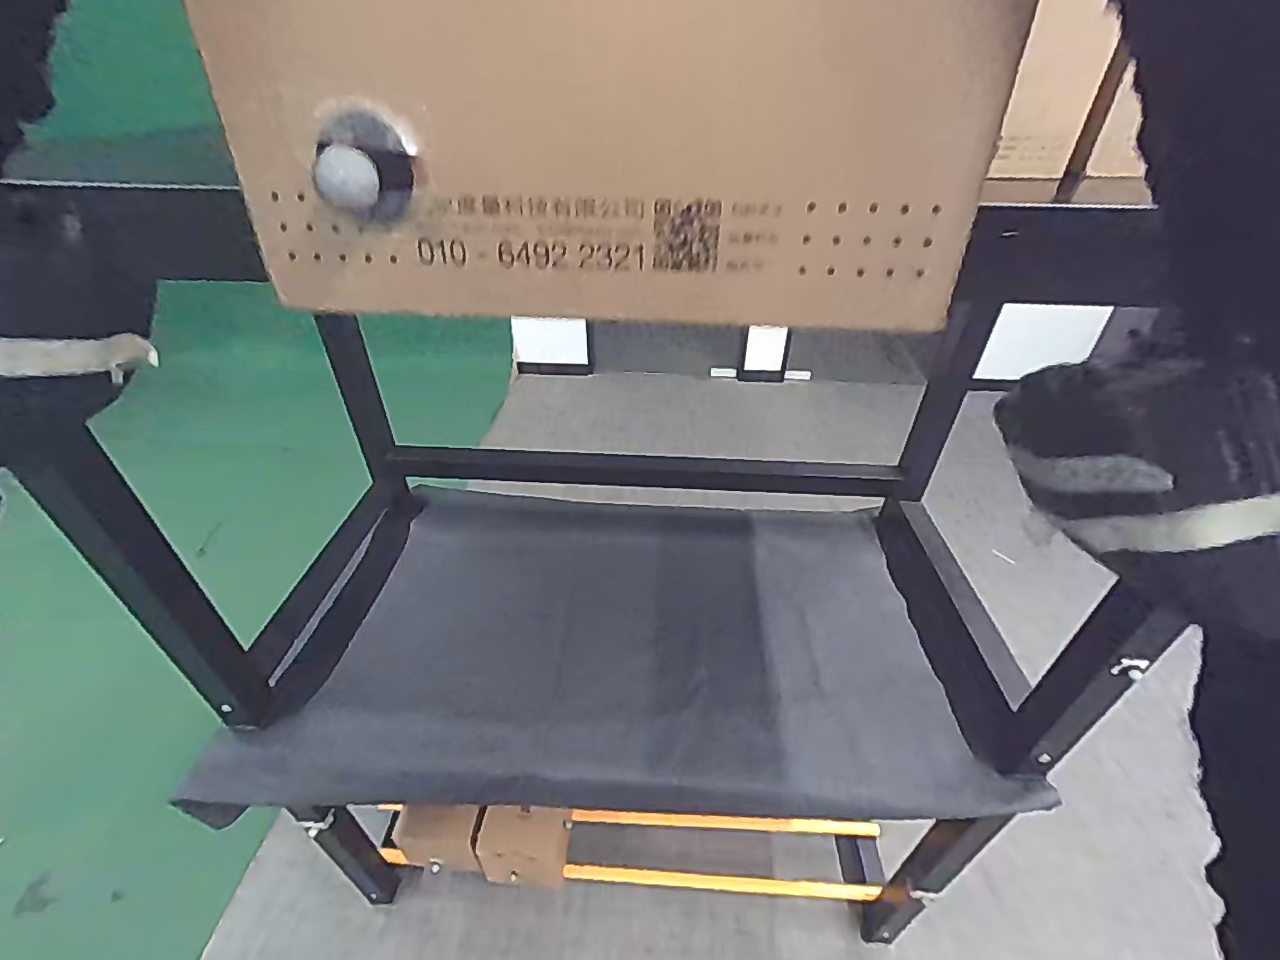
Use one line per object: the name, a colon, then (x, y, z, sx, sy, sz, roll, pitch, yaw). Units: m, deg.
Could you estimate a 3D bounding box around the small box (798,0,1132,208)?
small box: (0.236, -0.329, 0.435, 0.168, 0.176, 0.179, 1, 36, 2)
